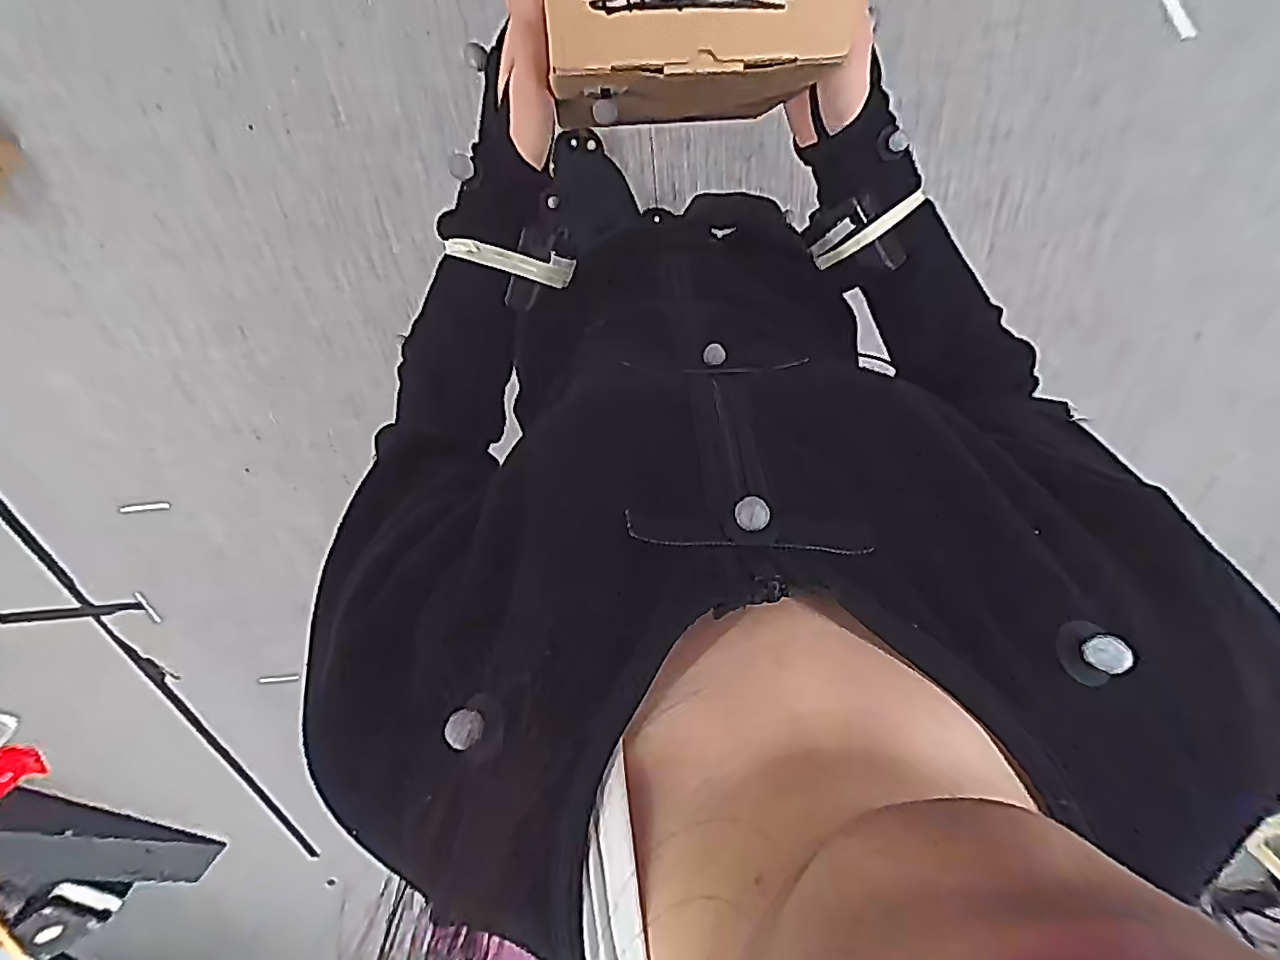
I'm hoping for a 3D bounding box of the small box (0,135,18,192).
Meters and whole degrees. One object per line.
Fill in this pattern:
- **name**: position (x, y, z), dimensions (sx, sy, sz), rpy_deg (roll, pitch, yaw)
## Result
- **small box**: position (-1.443, -0.673, 1.088), dimensions (0.168, 0.176, 0.179), rpy_deg (-40, 113, 19)
